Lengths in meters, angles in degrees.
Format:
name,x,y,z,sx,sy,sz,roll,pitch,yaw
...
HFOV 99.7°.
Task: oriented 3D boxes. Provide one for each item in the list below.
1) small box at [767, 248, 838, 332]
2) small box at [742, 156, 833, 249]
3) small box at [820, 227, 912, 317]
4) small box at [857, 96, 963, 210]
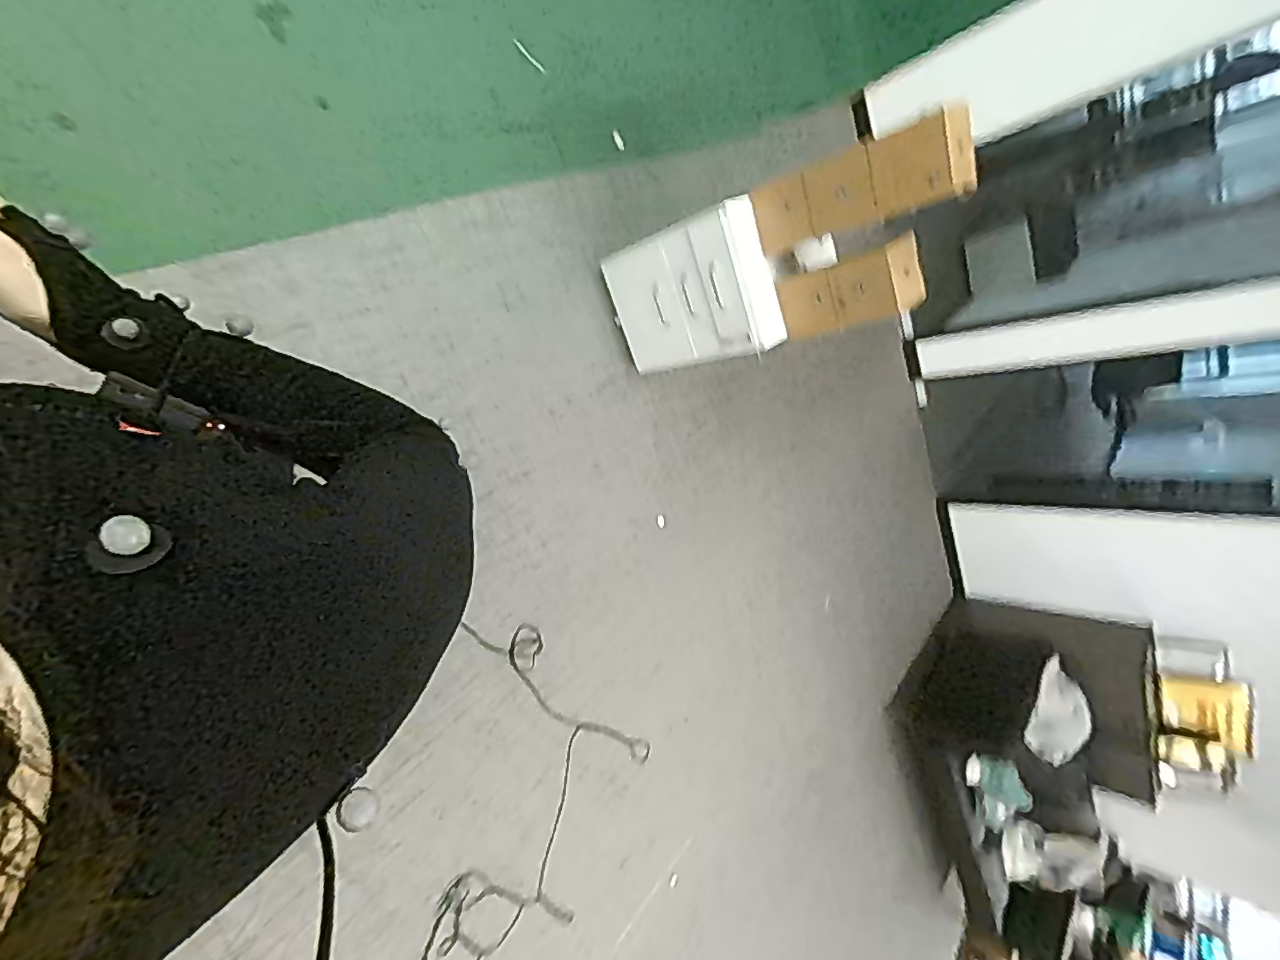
name,x,y,z,sx,sy,sz,roll,pitch,yaw
small box,0.496,-0.554,1.587,0.168,0.176,0.179,-34,113,-35
small box,0.406,-0.766,1.498,0.168,0.176,0.179,-34,114,-35
small box,0.606,-0.557,1.464,0.179,0.176,0.168,-37,115,-35
small box,0.624,-0.755,1.255,0.168,0.176,0.179,-35,115,-36
